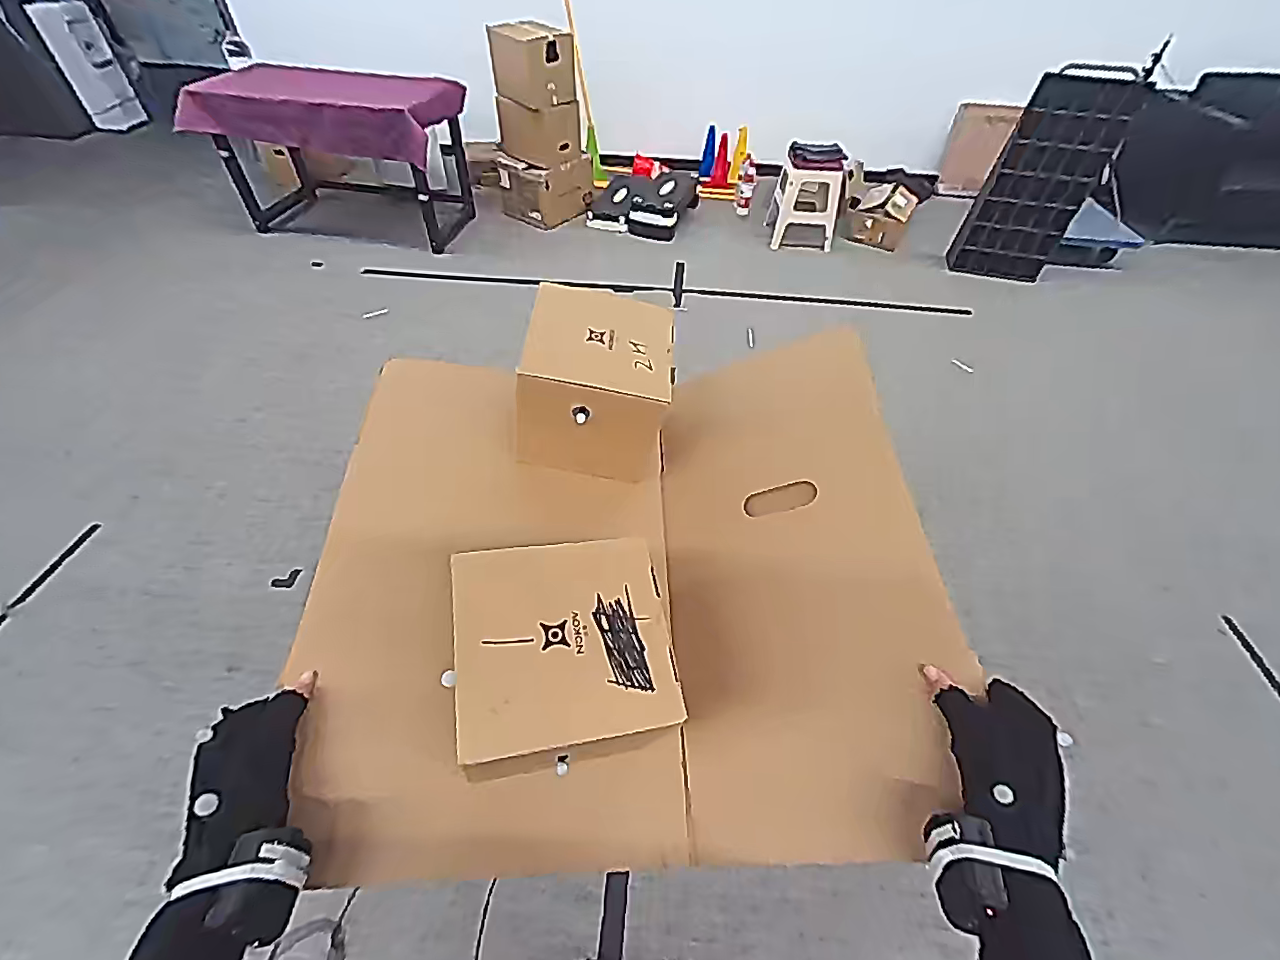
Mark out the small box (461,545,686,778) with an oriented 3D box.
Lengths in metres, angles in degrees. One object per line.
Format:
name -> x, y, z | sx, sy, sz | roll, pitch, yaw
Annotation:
small box -> -0.076, 0.175, 0.519 | 0.179, 0.176, 0.168 | -3, 58, -16

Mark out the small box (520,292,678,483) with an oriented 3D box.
small box -> -0.058, -0.115, 0.718 | 0.179, 0.176, 0.168 | 11, 55, -8
